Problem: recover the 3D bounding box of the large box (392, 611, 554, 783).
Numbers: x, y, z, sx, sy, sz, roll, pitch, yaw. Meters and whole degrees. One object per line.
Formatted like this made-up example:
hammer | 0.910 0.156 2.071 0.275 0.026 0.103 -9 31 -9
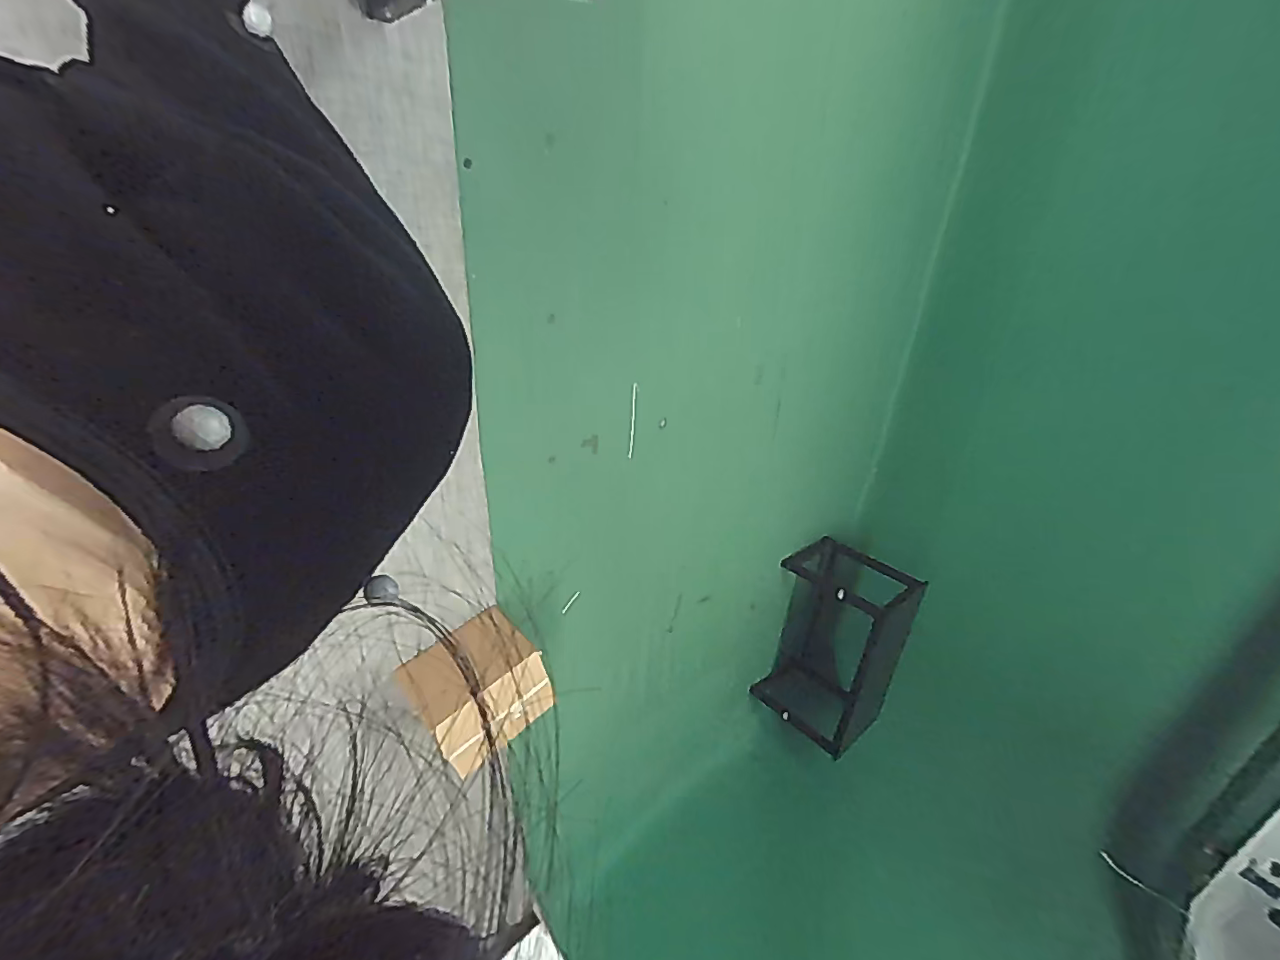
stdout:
large box | -0.582 0.752 1.917 0.408 0.320 0.320 -34 133 -30
